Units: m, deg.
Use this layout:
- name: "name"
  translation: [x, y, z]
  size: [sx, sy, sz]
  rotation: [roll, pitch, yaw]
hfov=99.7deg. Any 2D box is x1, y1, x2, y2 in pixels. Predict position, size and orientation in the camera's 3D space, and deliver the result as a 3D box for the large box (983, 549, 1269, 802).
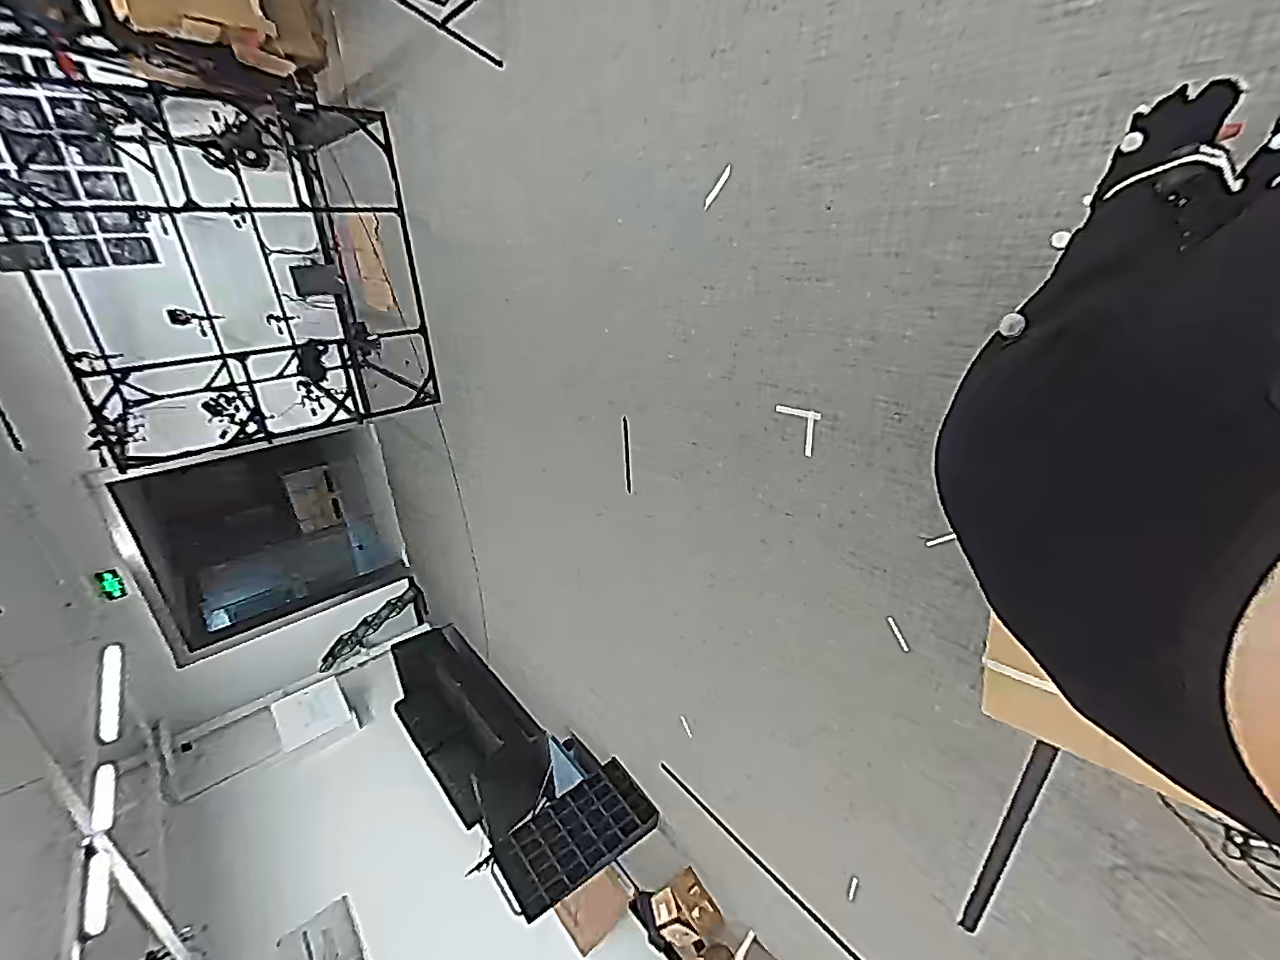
- name: "large box"
  translation: [1.041, 0.384, 1.190]
  size: [0.408, 0.320, 0.320]
  rotation: [15, 119, 48]
